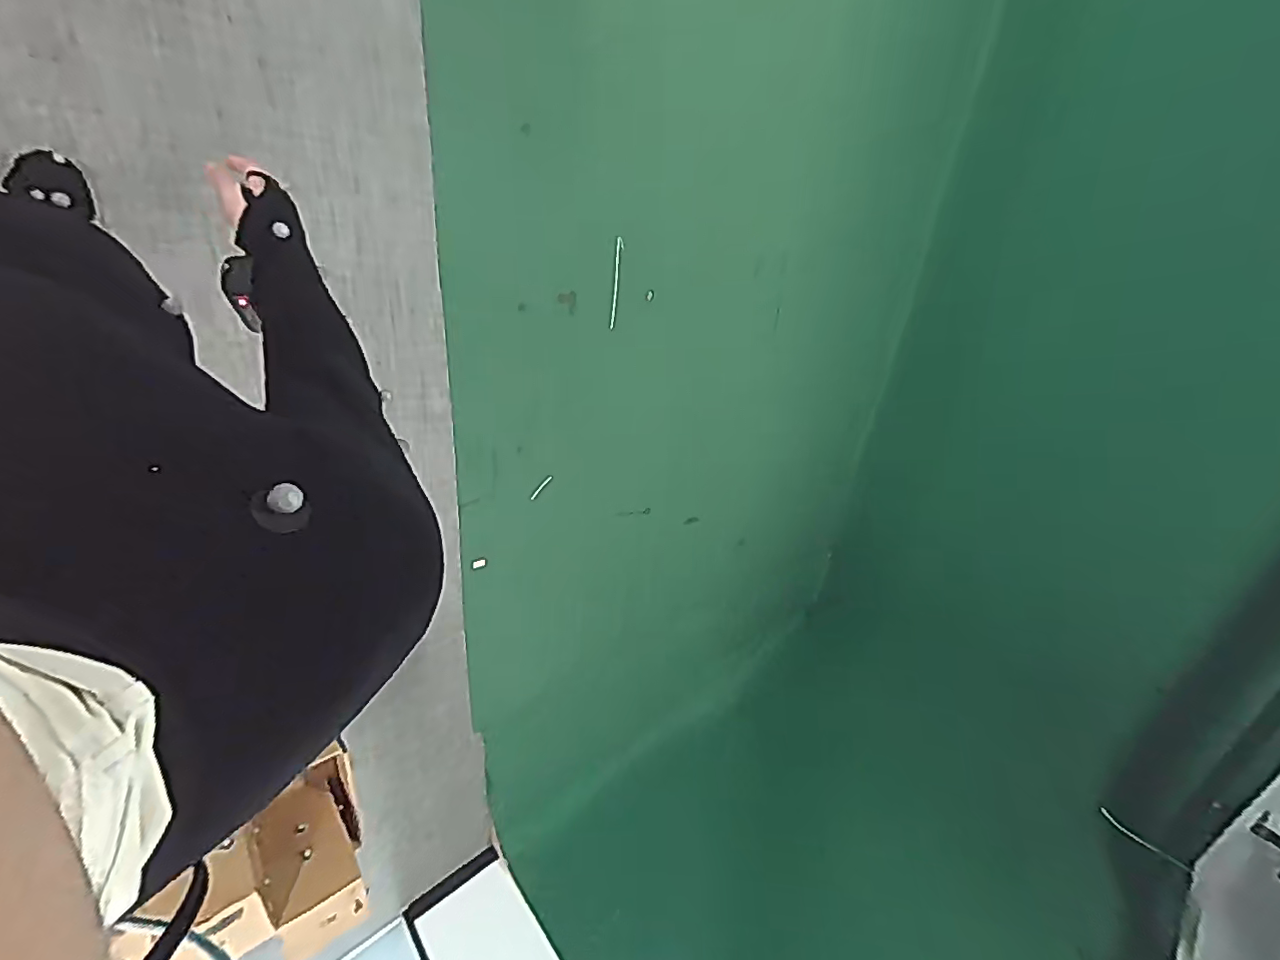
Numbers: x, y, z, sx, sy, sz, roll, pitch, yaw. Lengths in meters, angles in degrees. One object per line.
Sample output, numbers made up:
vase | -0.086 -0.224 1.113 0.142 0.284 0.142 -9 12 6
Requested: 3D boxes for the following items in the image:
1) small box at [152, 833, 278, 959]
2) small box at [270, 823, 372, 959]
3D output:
small box | -0.886 0.886 1.129 0.168 0.176 0.179 -18 126 -37
small box | -0.773 0.989 1.306 0.179 0.176 0.168 -16 123 -37
